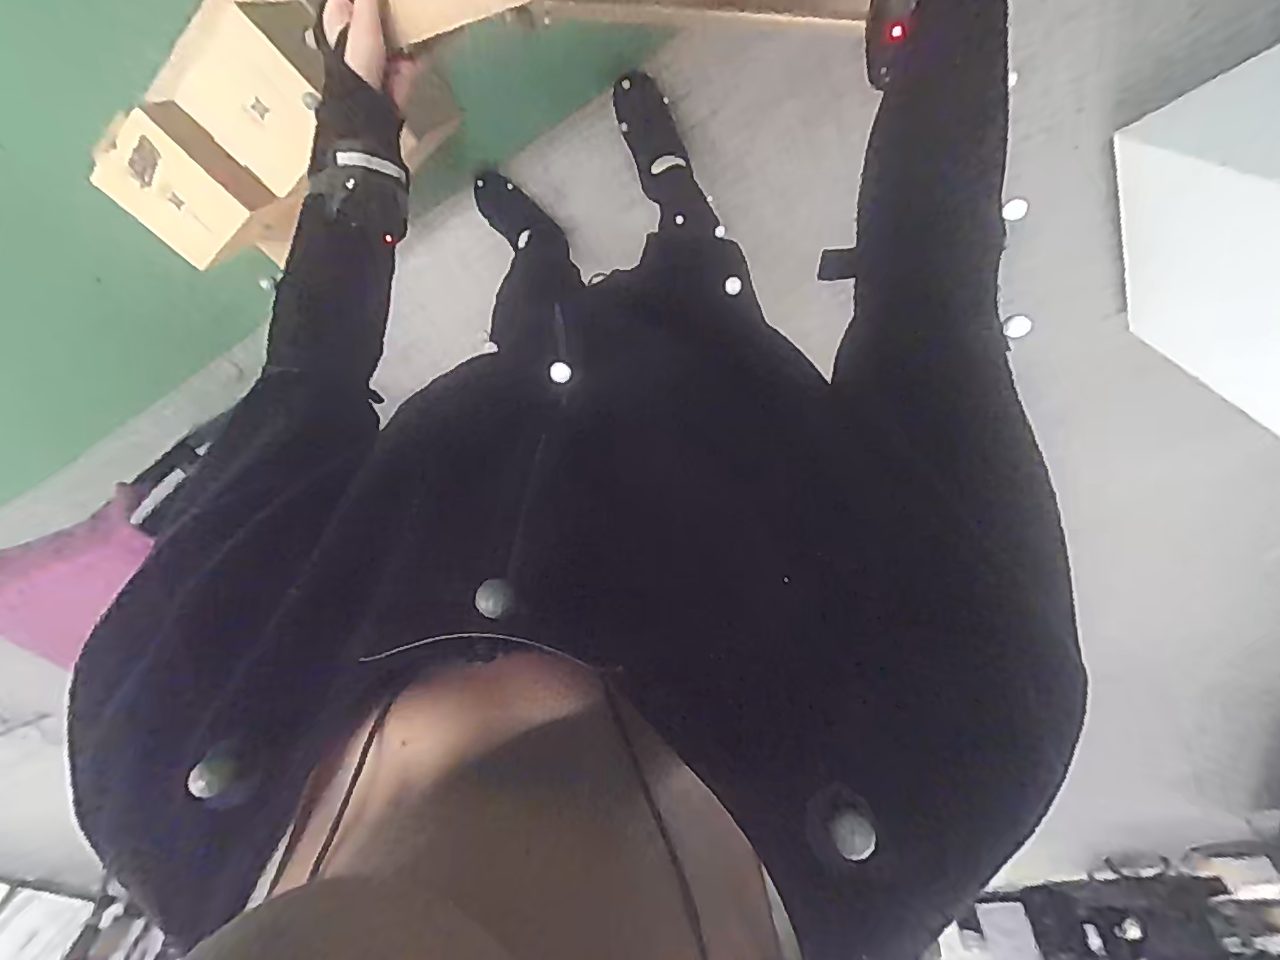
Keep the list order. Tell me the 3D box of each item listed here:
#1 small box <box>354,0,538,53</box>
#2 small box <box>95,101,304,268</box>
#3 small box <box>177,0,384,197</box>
[{"bbox_3d":[-0.130,-0.454,0.396,0.179,0.176,0.168,13,144,32],"label":"small box"},{"bbox_3d":[-0.715,-0.495,0.897,0.168,0.176,0.179,-27,124,24],"label":"small box"},{"bbox_3d":[-0.527,-0.574,0.818,0.179,0.176,0.168,-28,125,24],"label":"small box"}]
